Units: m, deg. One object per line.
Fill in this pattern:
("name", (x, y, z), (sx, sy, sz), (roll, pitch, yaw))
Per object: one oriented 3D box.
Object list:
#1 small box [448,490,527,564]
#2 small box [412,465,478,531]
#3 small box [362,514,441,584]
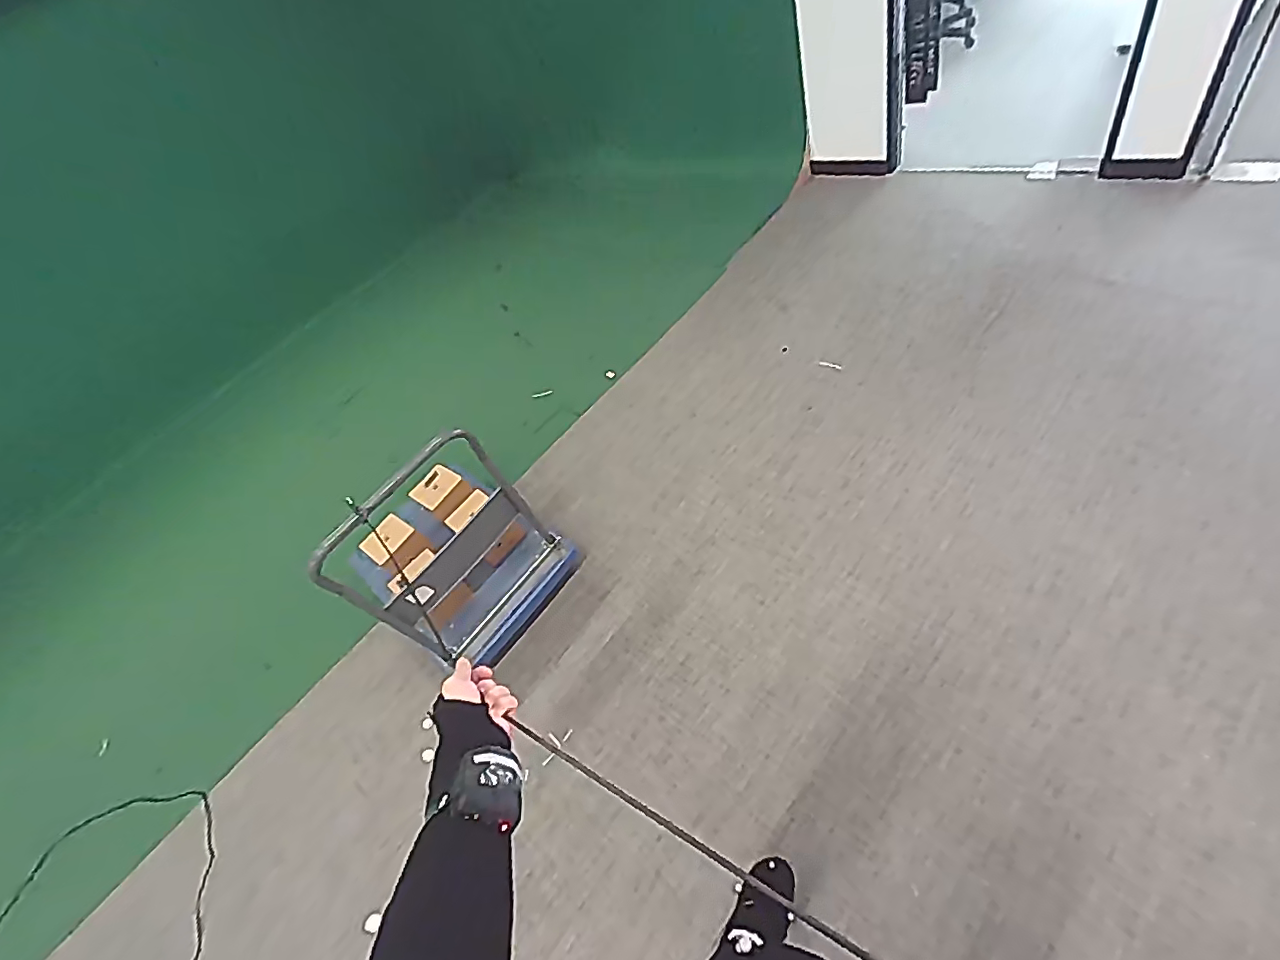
("small box", (-0.542, 0.171, 1.931), (0.179, 0.176, 0.168), (28, 68, 37))
("small box", (-0.734, 0.074, 2.094), (0.179, 0.176, 0.168), (23, 66, 35))
("small box", (-0.878, 0.261, 2.006), (0.179, 0.176, 0.168), (23, 64, 36))
